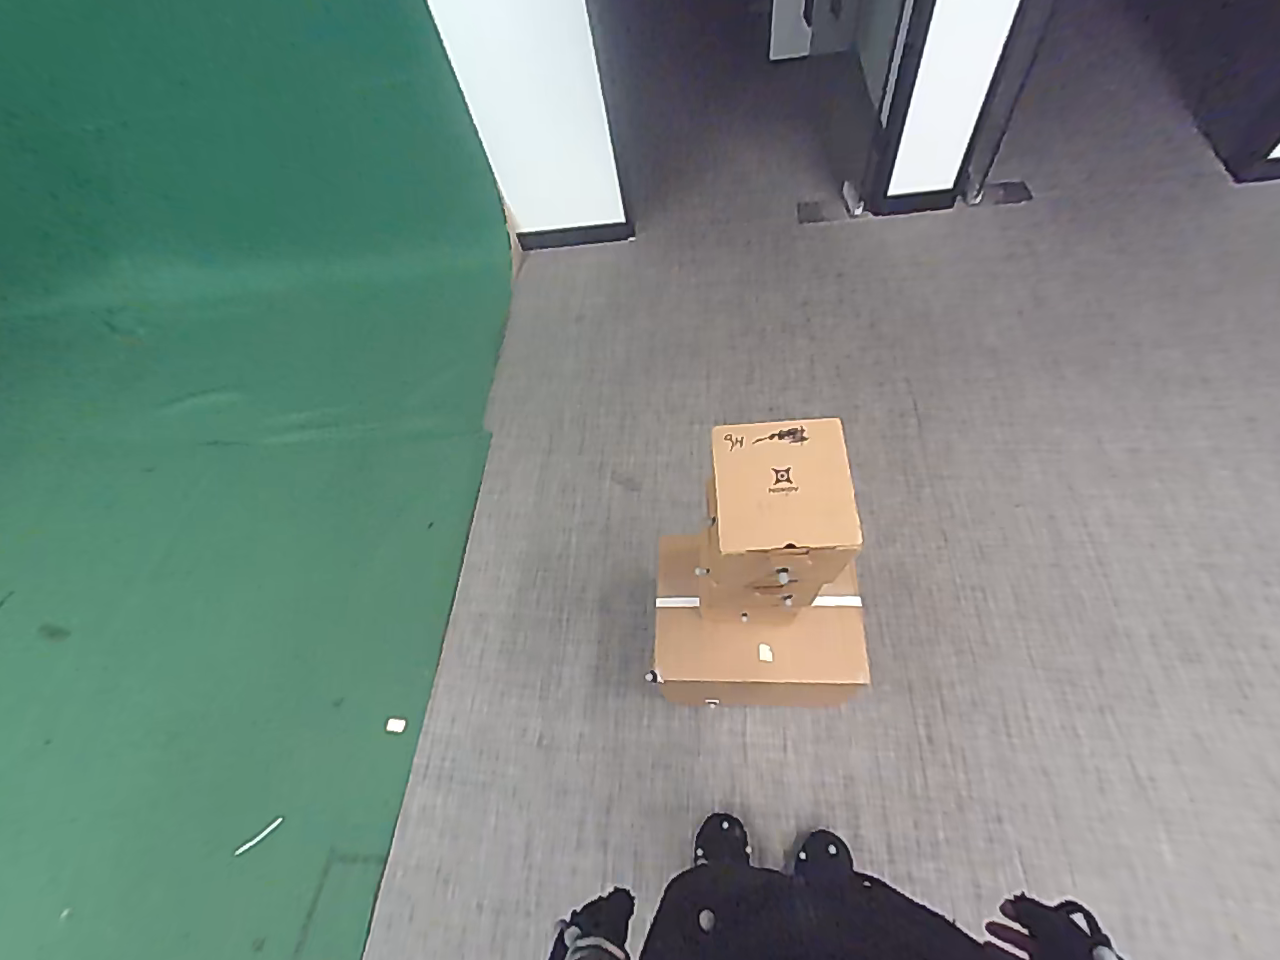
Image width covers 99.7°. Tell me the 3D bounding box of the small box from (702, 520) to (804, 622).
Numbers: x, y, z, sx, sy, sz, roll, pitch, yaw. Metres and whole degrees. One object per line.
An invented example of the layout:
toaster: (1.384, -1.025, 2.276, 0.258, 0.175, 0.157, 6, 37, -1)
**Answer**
small box: (0.209, 0.176, 1.040, 0.179, 0.176, 0.168, -2, 66, 8)

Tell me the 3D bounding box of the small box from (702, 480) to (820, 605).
small box: (0.192, 0.107, 0.893, 0.168, 0.176, 0.179, -4, 65, 7)

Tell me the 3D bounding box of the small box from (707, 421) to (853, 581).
small box: (0.182, 0.039, 0.745, 0.168, 0.176, 0.179, -4, 66, 7)
